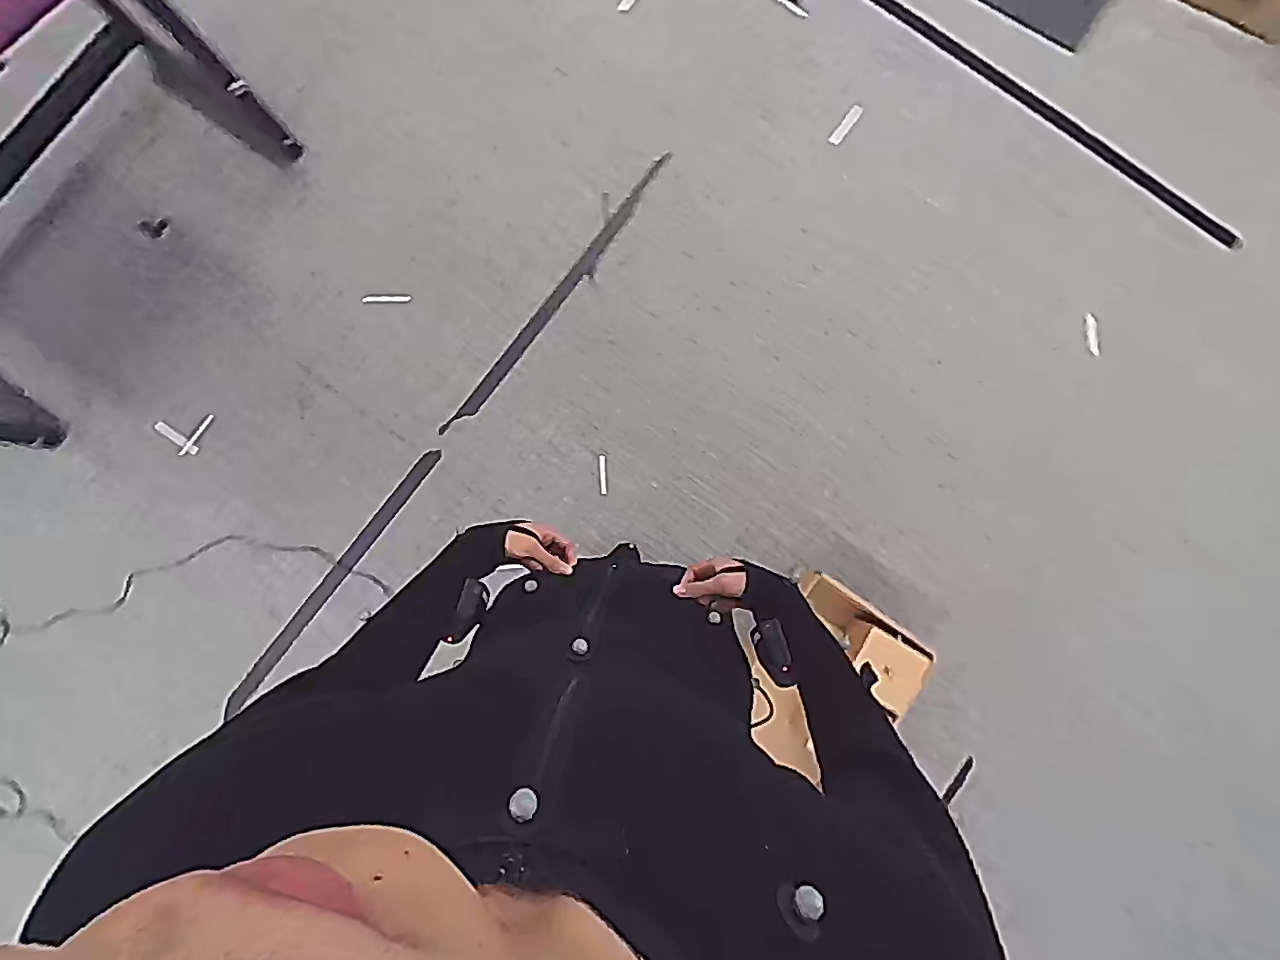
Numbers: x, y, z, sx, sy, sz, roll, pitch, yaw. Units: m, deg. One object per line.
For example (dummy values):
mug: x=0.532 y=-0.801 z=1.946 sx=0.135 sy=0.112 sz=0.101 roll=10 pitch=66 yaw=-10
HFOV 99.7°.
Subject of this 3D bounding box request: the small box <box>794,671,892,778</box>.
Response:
small box: x=0.540 y=0.655 z=1.469 sx=0.168 sy=0.176 sz=0.179 roll=30 pitch=87 yaw=2
